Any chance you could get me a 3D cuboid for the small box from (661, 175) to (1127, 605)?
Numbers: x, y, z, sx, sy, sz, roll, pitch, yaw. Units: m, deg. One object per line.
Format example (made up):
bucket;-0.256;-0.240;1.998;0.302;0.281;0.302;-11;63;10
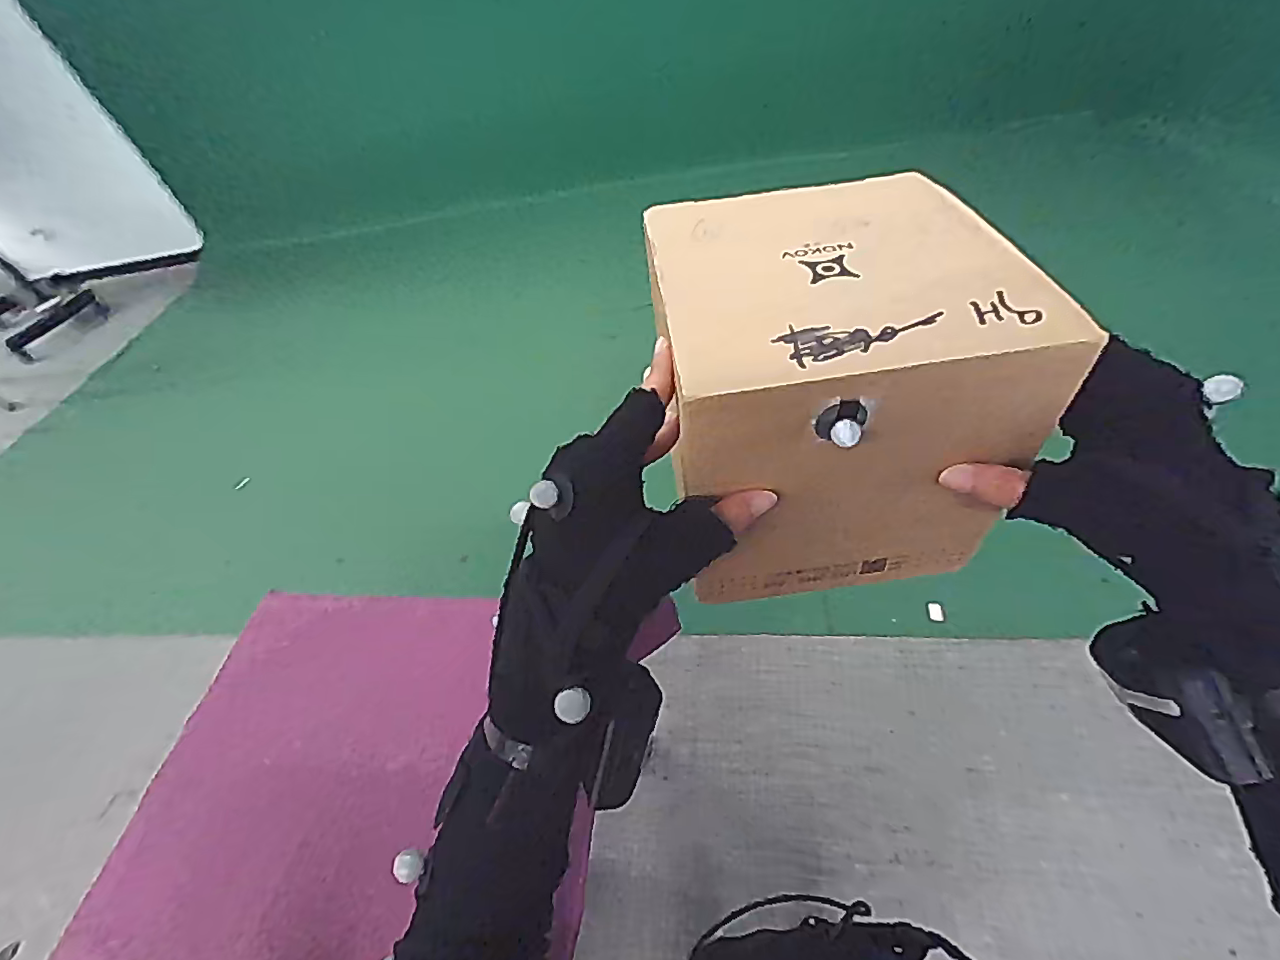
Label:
small box;0.106;-0.050;0.320;0.168;0.176;0.179;-8;48;3
